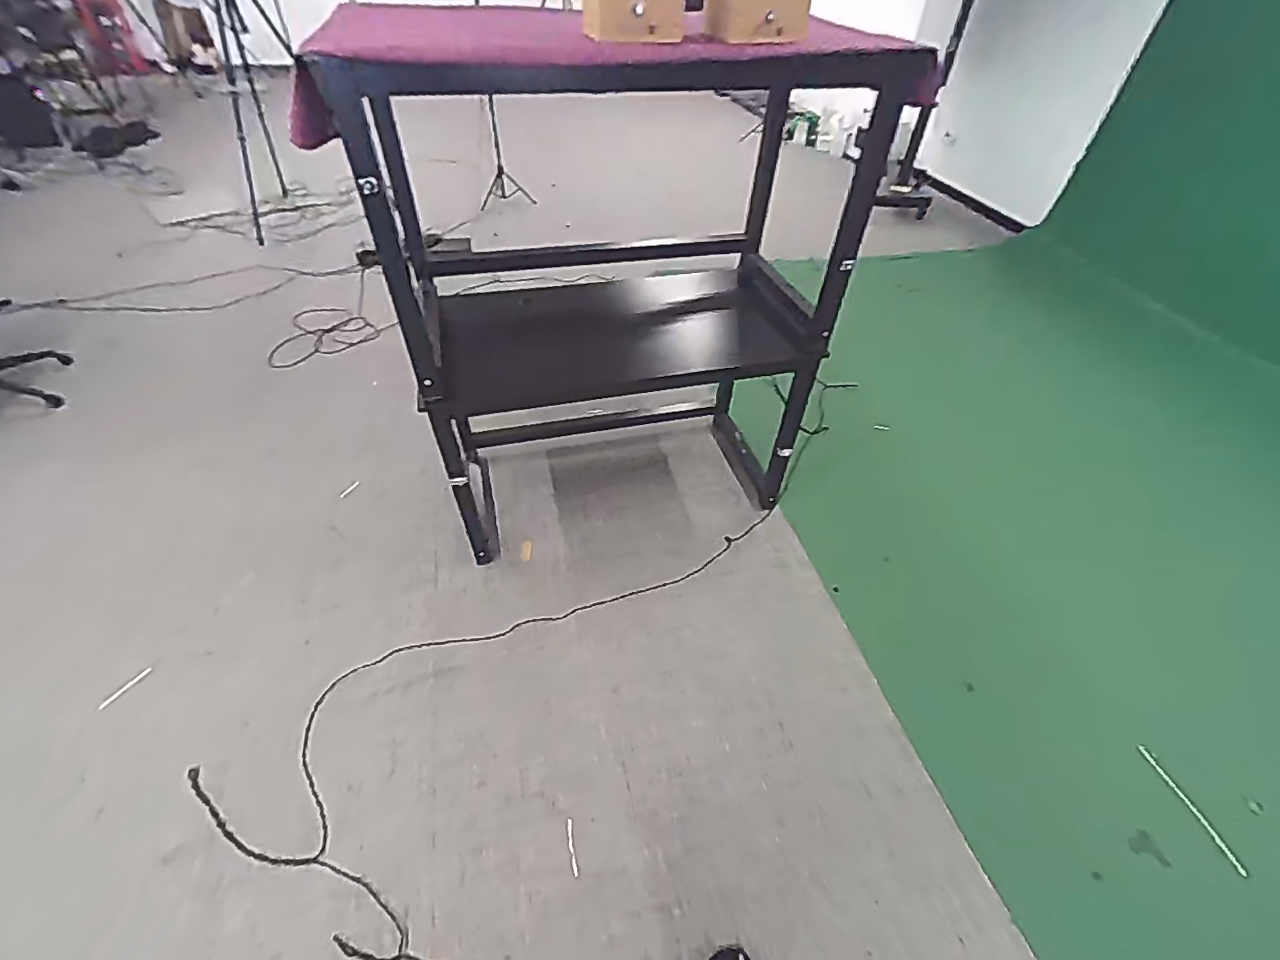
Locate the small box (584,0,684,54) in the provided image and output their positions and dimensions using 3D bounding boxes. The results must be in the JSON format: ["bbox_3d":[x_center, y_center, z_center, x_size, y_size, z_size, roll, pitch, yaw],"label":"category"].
[{"bbox_3d":[-0.016,-0.945,1.044,0.168,0.176,0.179,-9,46,-11],"label":"small box"}]
